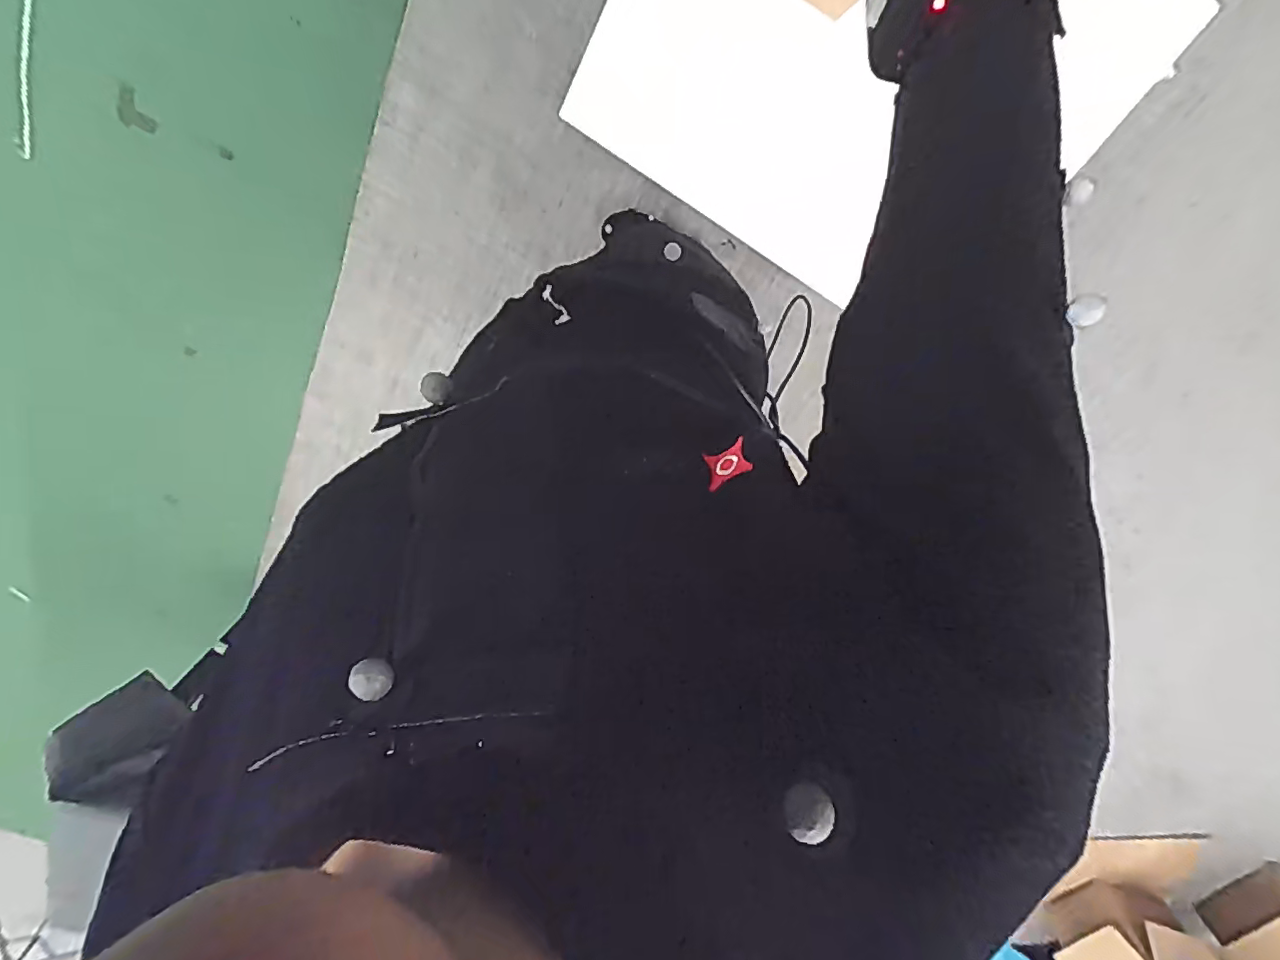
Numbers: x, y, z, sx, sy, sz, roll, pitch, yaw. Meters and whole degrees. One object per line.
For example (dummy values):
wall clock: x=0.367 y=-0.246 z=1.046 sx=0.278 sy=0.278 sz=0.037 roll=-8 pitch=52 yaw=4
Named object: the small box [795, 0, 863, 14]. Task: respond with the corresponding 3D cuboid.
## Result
small box: x=0.151 y=-0.499 z=0.407 sx=0.179 sy=0.176 sz=0.168 roll=24 pitch=116 yaw=-10
